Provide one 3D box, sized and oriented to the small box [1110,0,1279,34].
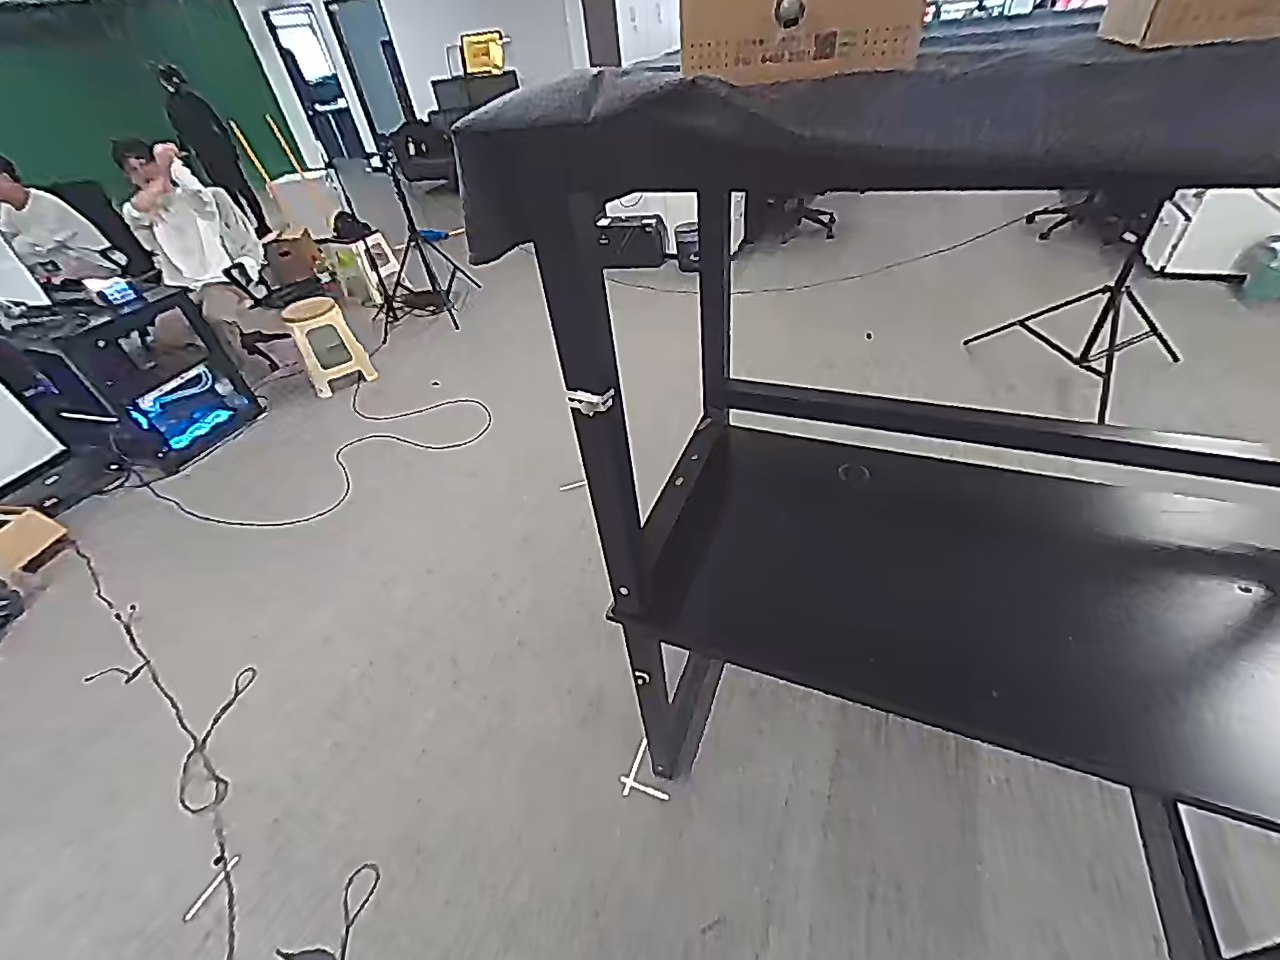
[{"bbox_3d":[0.416,-0.372,0.313,0.168,0.176,0.179,12,42,22],"label":"small box"}]
